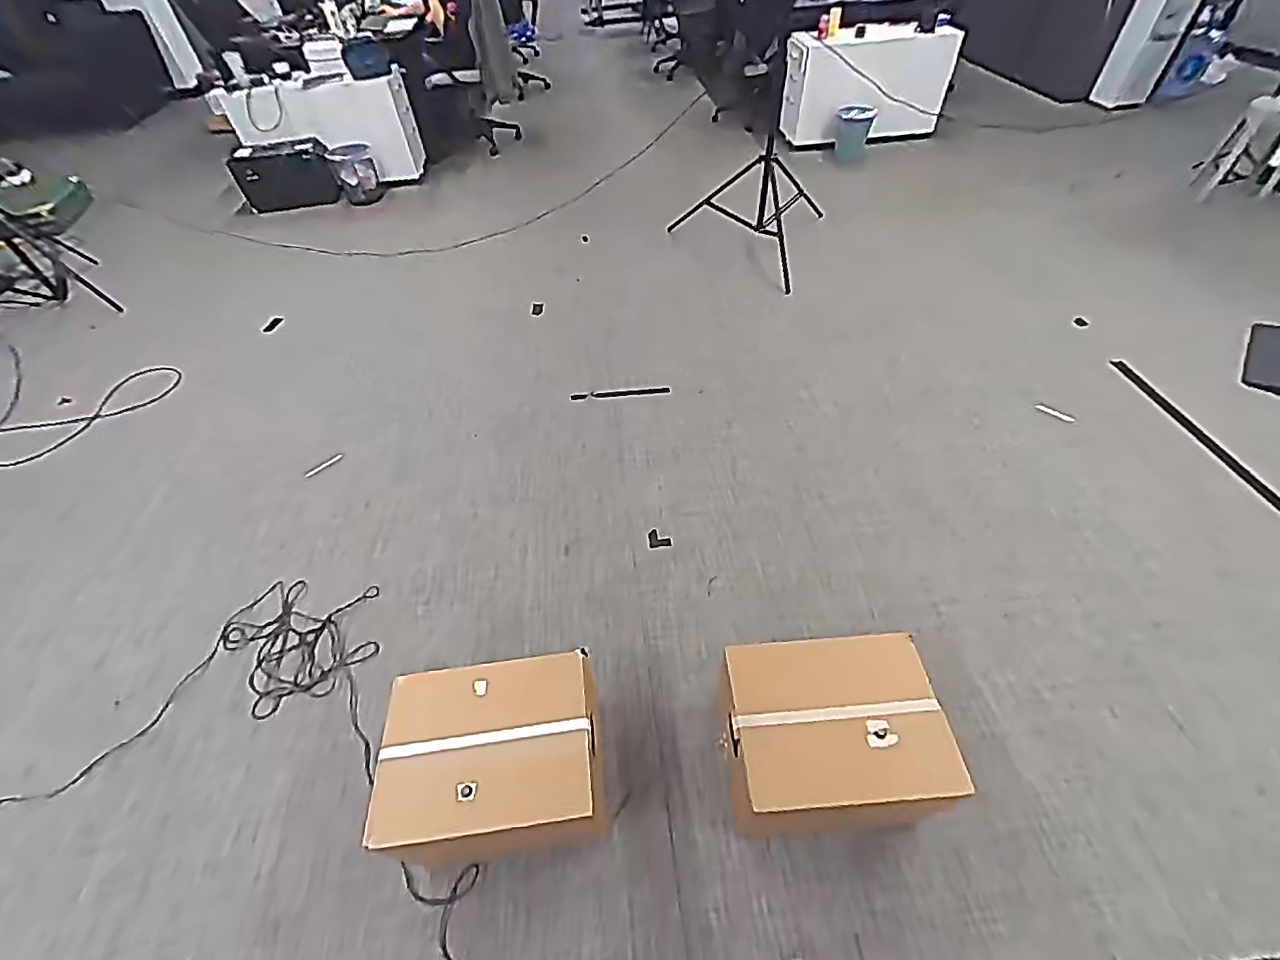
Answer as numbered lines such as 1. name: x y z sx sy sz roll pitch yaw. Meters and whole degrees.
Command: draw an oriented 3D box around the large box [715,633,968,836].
1. large box: 0.396 0.561 1.188 0.408 0.320 0.320 -4 49 -1
